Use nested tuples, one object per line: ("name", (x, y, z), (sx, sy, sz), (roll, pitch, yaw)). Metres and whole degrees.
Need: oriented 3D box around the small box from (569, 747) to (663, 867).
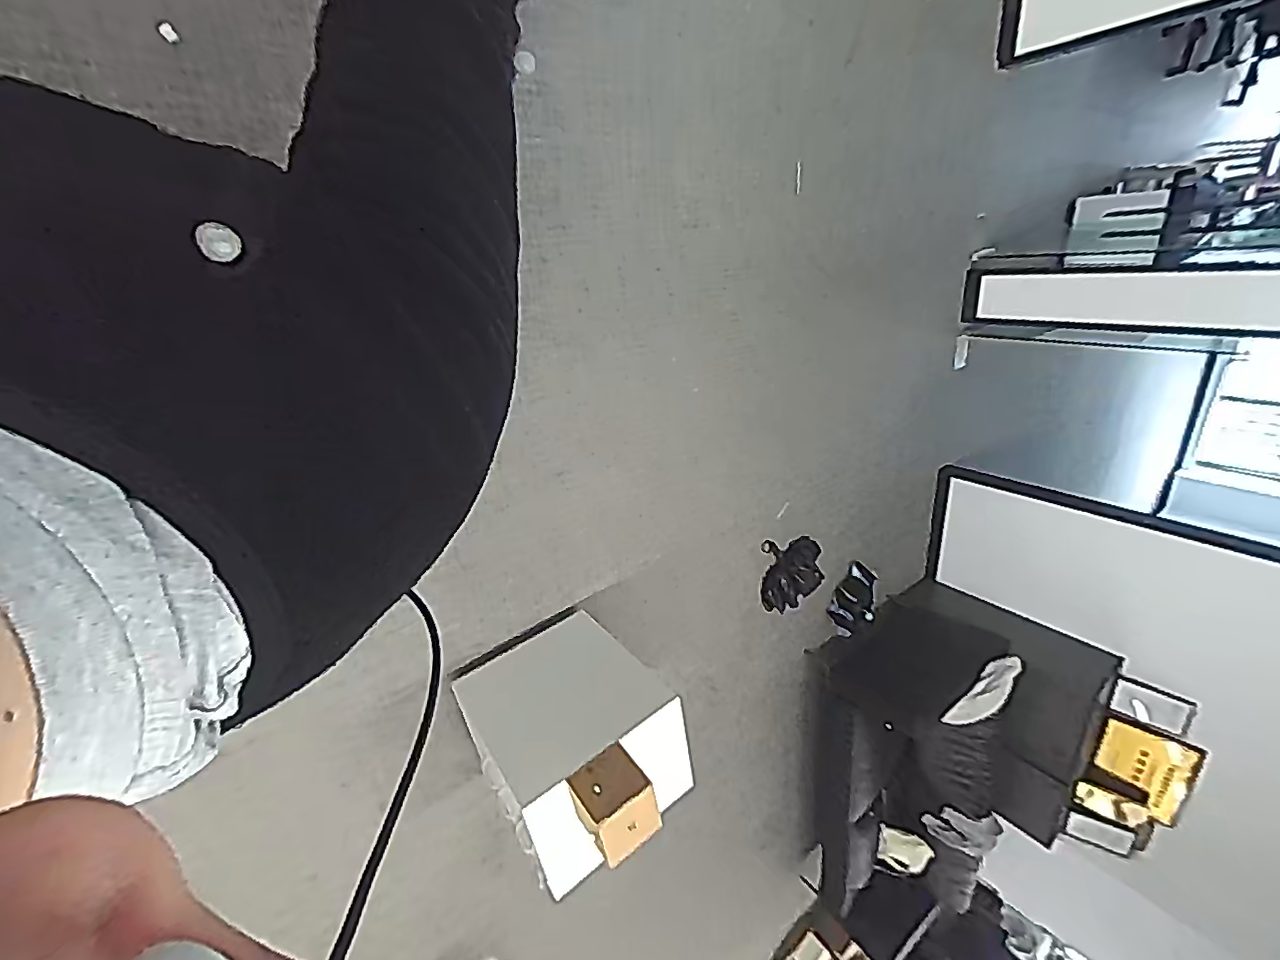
("small box", (-0.063, 0.825, 1.390), (0.168, 0.176, 0.179), (-26, 122, -27))
